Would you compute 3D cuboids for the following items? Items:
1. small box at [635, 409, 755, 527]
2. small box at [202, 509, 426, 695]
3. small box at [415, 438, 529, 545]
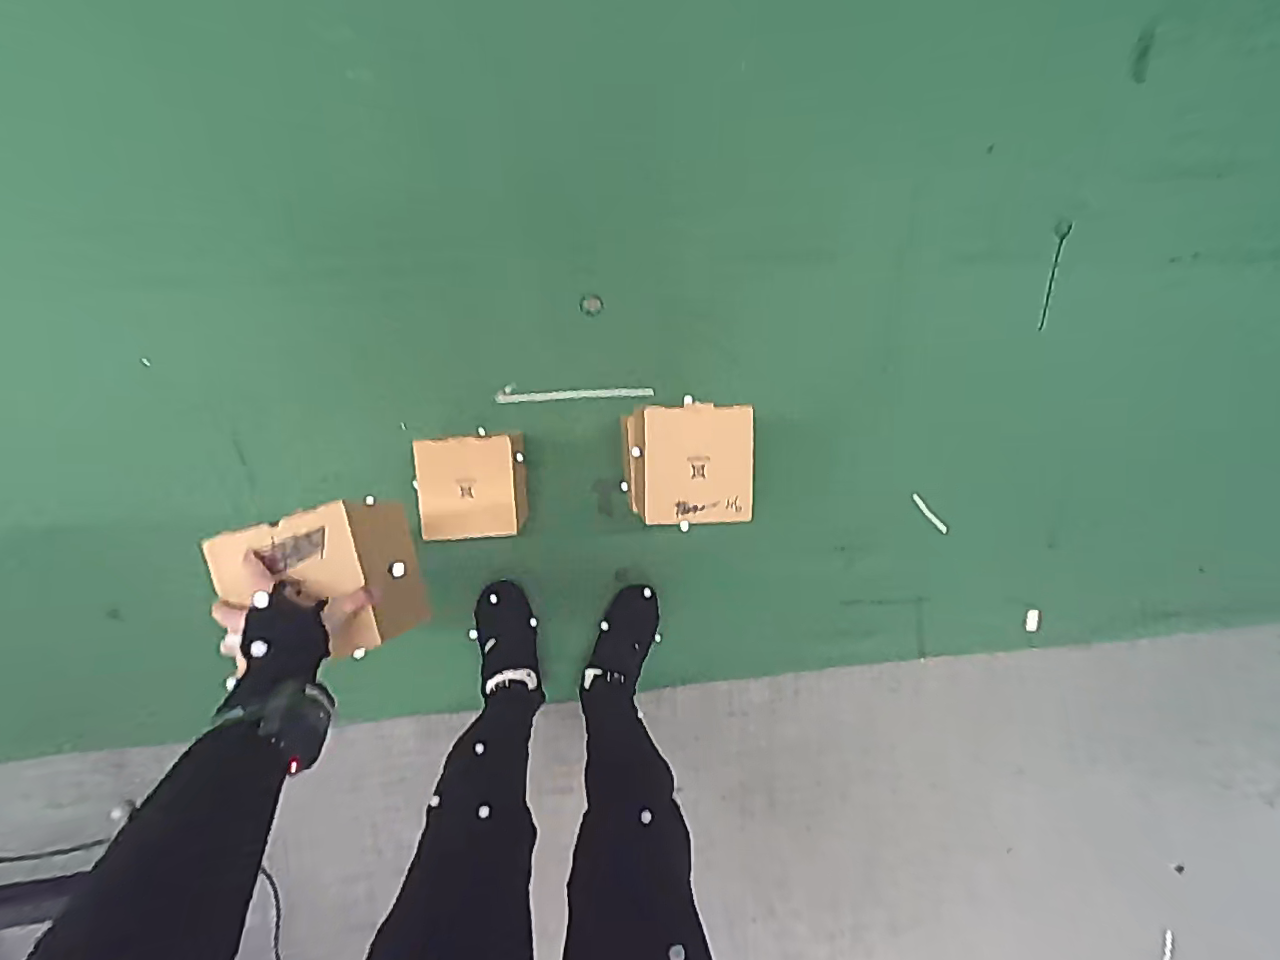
[{"bbox_3d":[0.081,-0.024,0.879,0.168,0.176,0.179,-1,97,-5],"label":"small box"},{"bbox_3d":[-0.400,0.144,0.694,0.168,0.176,0.179,-16,87,-2],"label":"small box"},{"bbox_3d":[-0.305,0.014,1.015,0.168,0.176,0.179,-3,96,-5],"label":"small box"}]
